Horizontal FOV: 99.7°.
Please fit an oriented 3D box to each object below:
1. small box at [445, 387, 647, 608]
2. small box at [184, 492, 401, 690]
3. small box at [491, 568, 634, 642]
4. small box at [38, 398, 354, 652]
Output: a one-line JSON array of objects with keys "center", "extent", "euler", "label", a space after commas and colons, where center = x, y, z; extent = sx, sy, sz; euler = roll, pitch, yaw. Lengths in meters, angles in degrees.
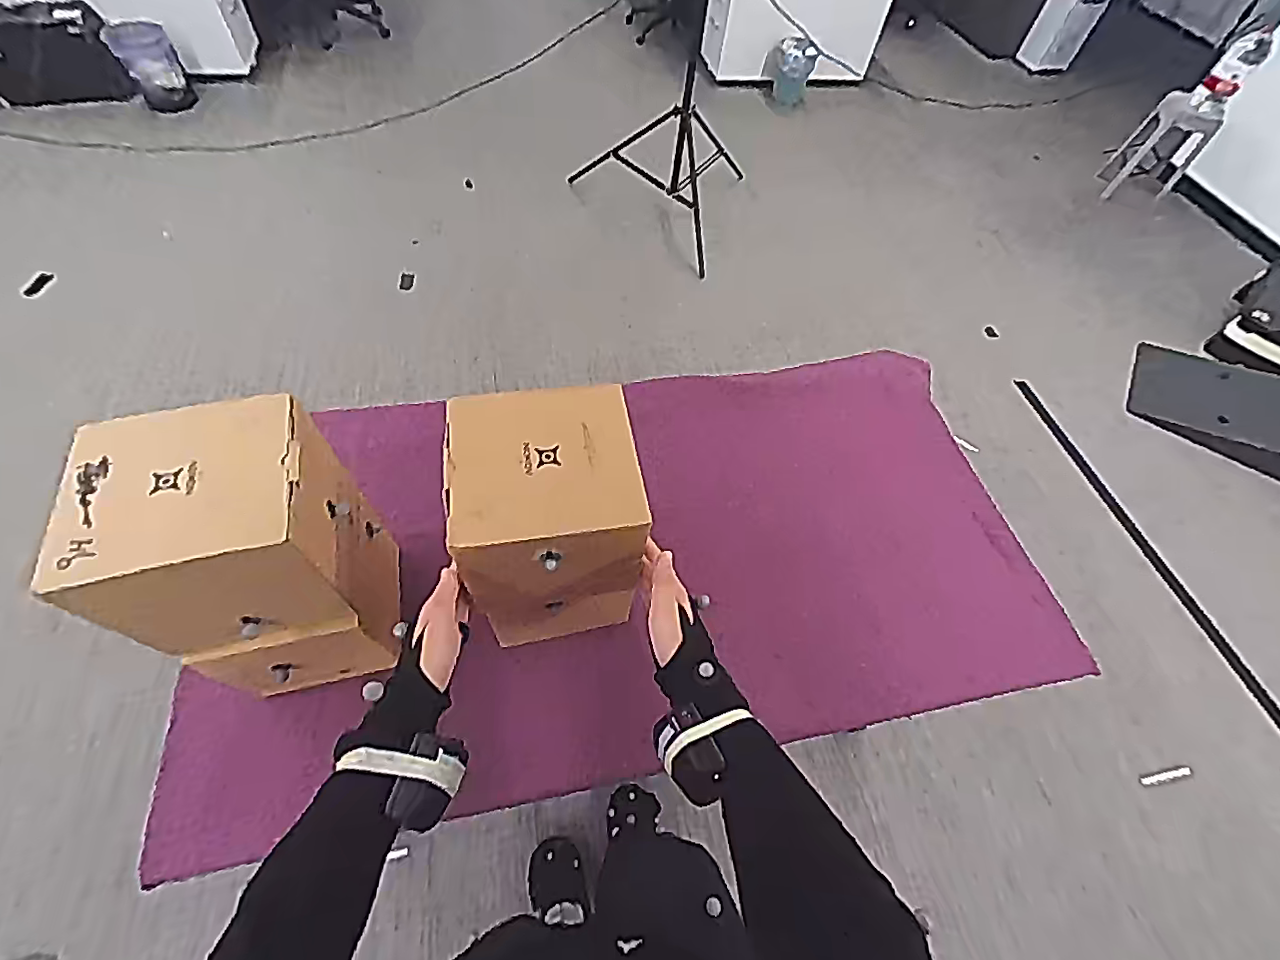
[{"center": [-0.099, 0.024, 0.572], "extent": [0.179, 0.176, 0.168], "euler": [-6, 59, -11], "label": "small box"}, {"center": [-0.400, 0.142, 0.659], "extent": [0.168, 0.176, 0.179], "euler": [-11, 58, -12], "label": "small box"}, {"center": [-0.114, 0.100, 0.714], "extent": [0.179, 0.176, 0.168], "euler": [-9, 59, -12], "label": "small box"}, {"center": [-0.393, 0.048, 0.524], "extent": [0.179, 0.176, 0.168], "euler": [-12, 59, -14], "label": "small box"}]
